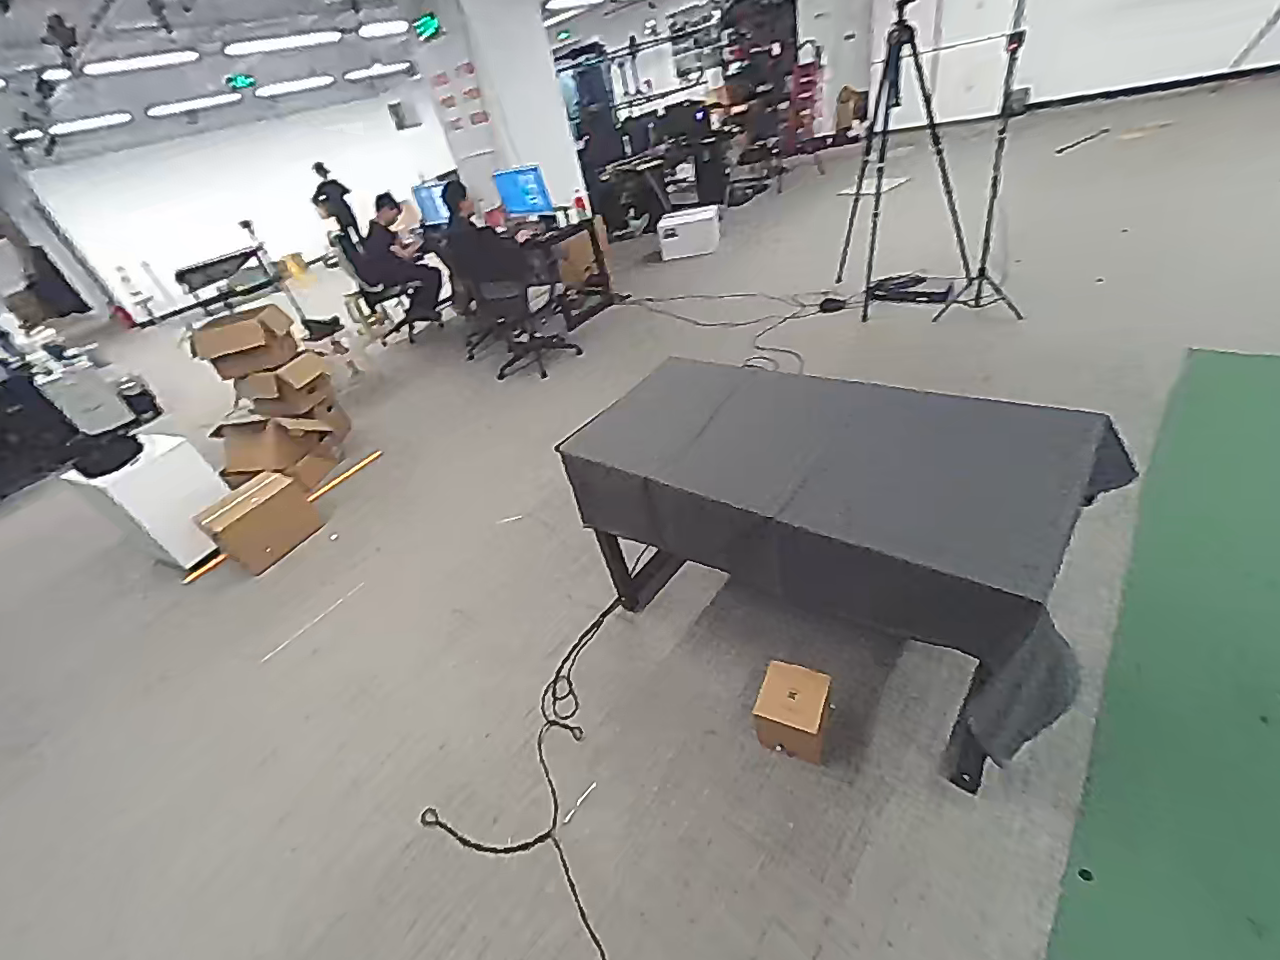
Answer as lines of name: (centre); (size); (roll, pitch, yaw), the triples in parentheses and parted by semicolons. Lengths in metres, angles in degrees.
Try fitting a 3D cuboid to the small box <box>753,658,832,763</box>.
small box: (0.420, 0.628, 1.476); (0.168, 0.176, 0.179); (8, 41, 30)
